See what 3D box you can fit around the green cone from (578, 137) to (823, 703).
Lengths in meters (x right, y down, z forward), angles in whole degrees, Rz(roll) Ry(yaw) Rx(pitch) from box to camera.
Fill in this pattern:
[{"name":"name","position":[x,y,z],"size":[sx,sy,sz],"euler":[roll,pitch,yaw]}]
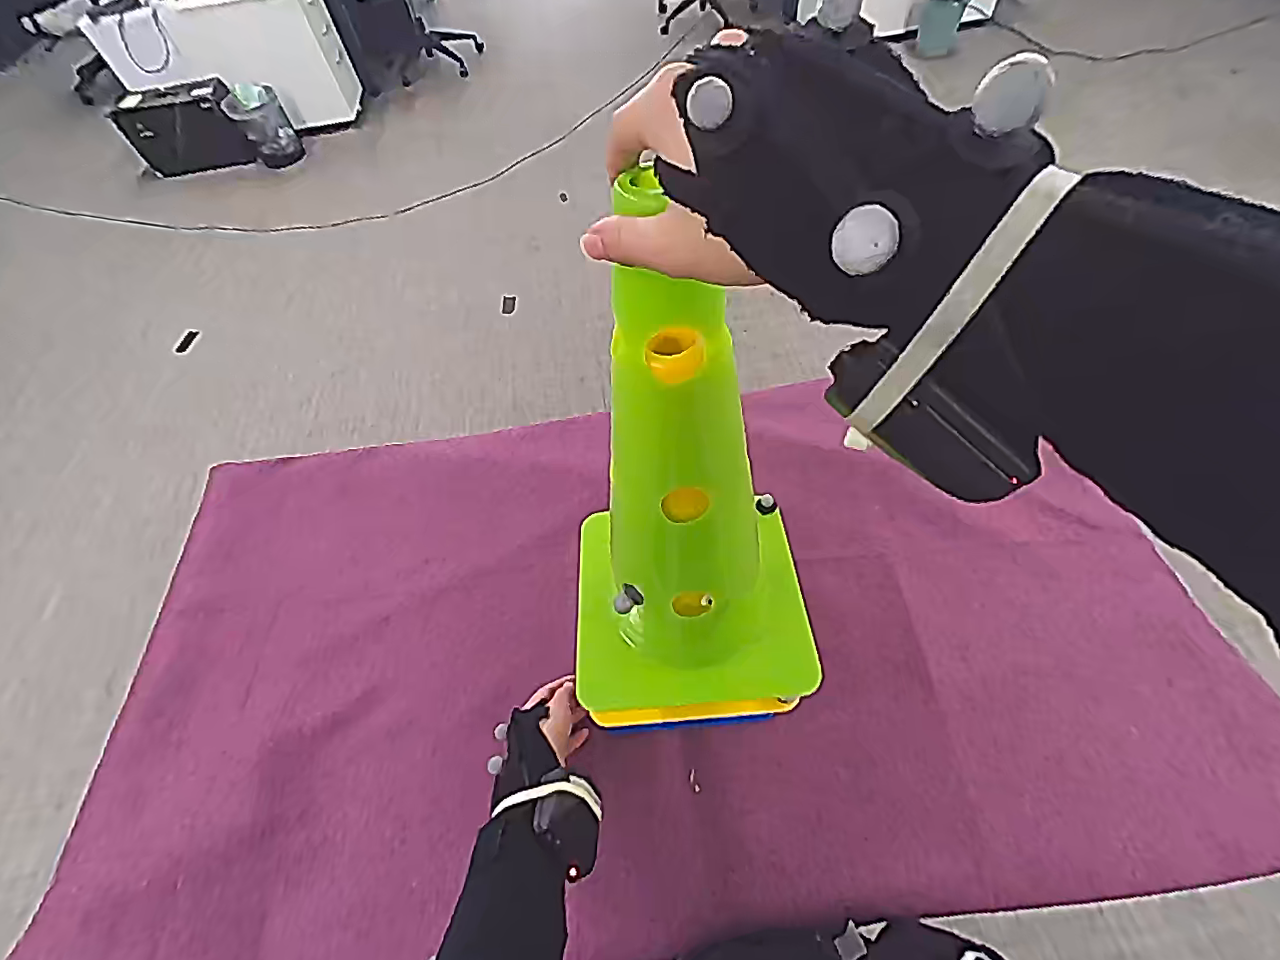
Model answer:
[{"name":"green cone","position":[0.026,-0.017,0.353],"size":[0.200,0.368,0.202],"euler":[-7,51,3]}]
